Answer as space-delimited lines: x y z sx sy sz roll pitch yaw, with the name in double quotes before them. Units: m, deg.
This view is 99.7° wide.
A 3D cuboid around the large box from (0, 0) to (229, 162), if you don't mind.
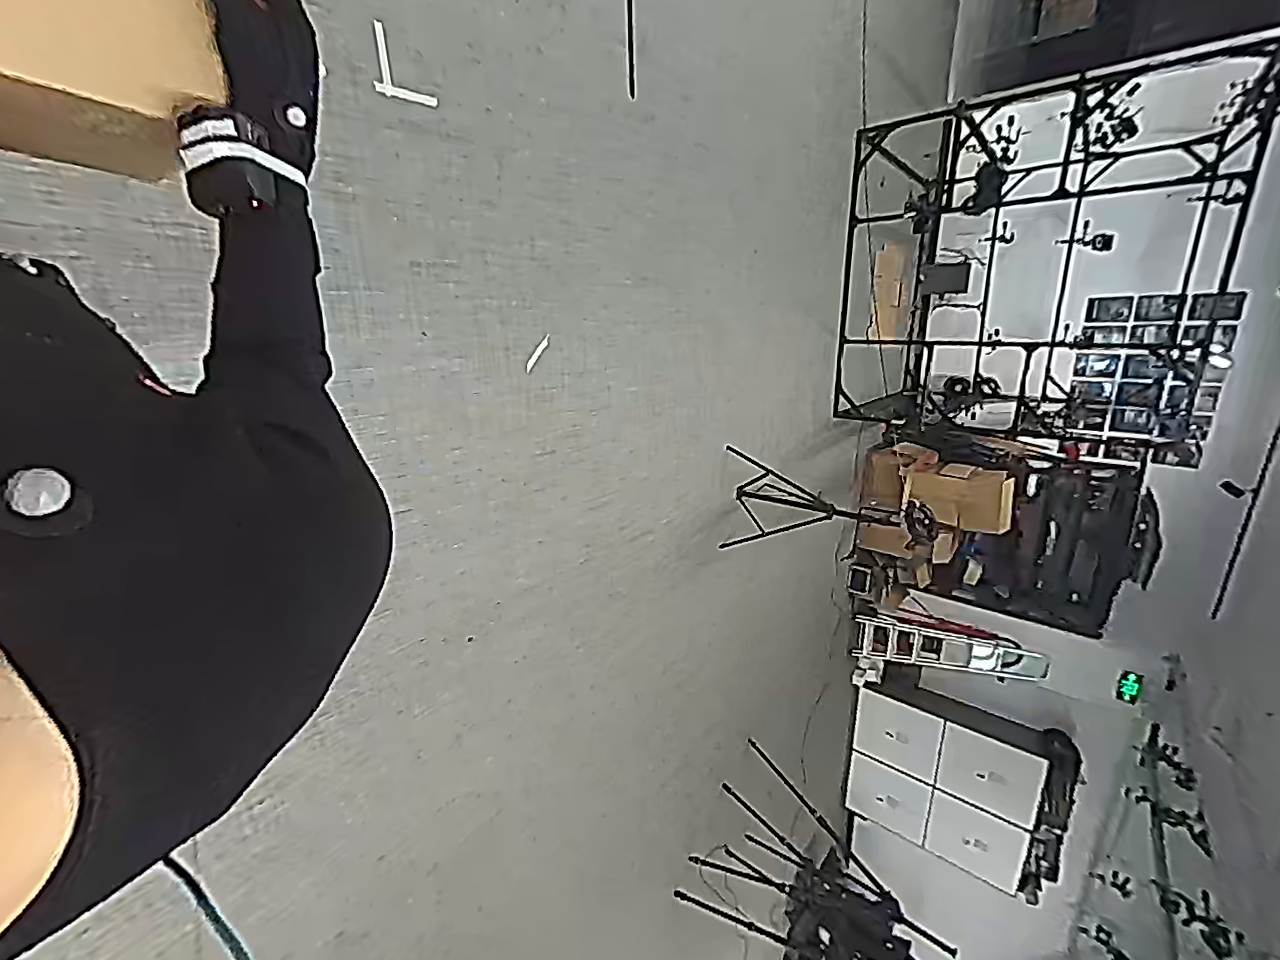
"large box" -0.562 -0.441 0.339 0.408 0.320 0.320 -12 114 -49
